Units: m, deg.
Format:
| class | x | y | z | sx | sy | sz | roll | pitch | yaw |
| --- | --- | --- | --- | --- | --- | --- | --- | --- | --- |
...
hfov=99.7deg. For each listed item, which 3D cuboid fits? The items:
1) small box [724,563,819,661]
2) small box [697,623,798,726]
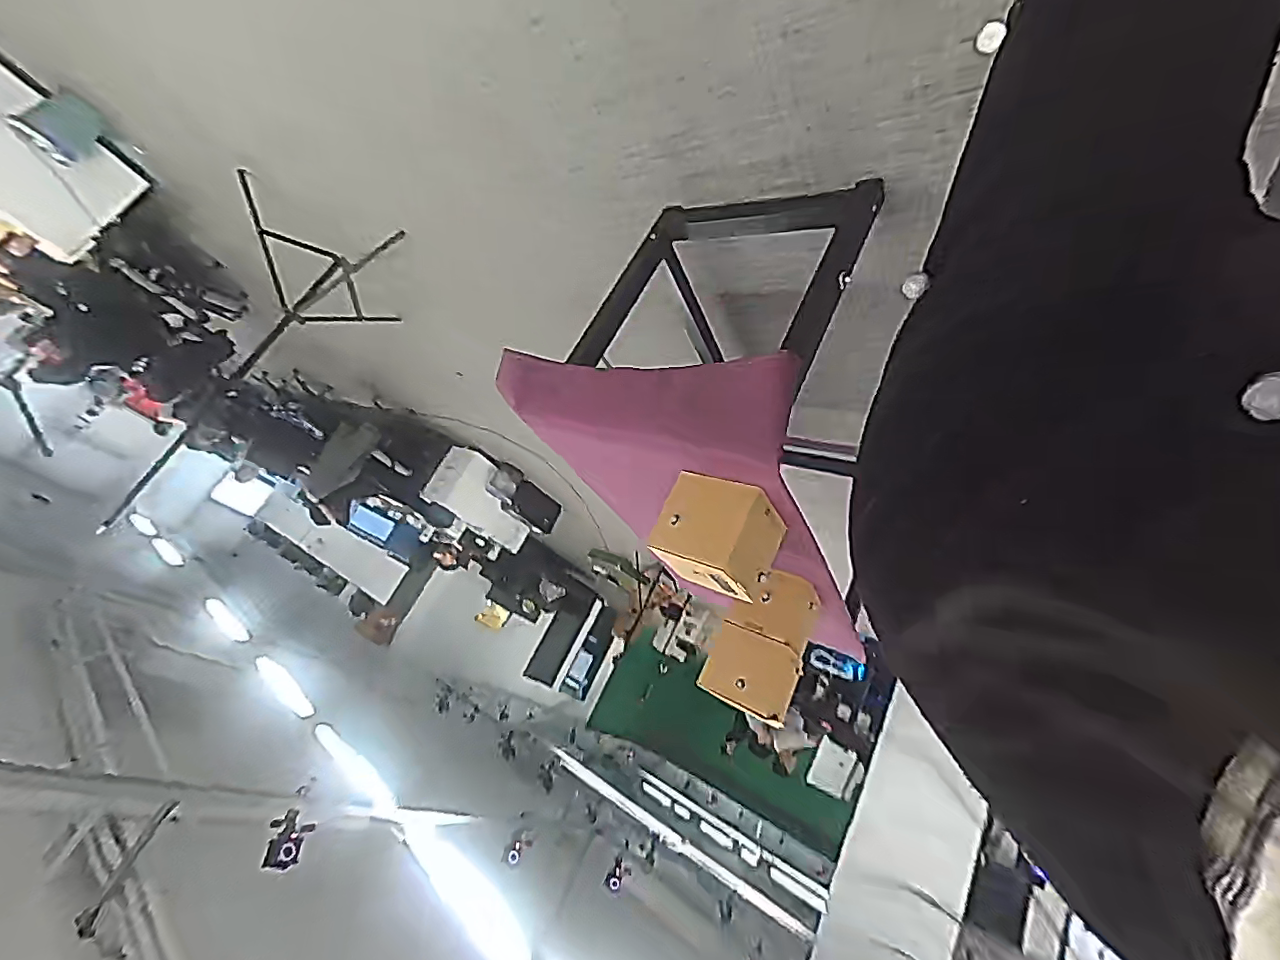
| class | x | y | z | sx | sy | sz | roll | pitch | yaw |
| --- | --- | --- | --- | --- | --- | --- | --- | --- | --- |
| small box | 0.339 | 0.330 | 1.371 | 0.168 | 0.176 | 0.179 | 14 | 157 | 35 |
| small box | 0.270 | 0.470 | 1.314 | 0.179 | 0.176 | 0.168 | 15 | 159 | 35 |
